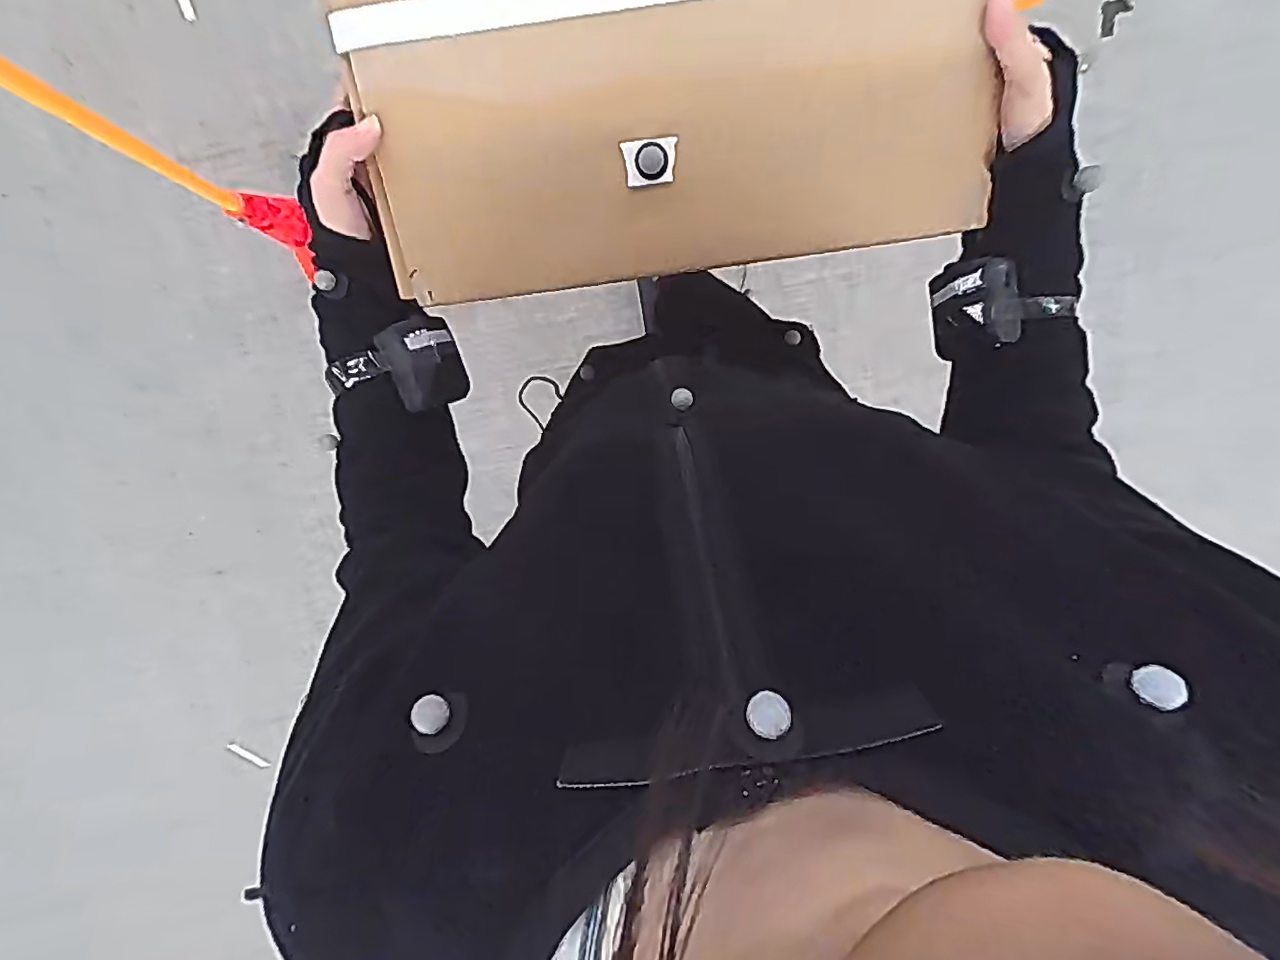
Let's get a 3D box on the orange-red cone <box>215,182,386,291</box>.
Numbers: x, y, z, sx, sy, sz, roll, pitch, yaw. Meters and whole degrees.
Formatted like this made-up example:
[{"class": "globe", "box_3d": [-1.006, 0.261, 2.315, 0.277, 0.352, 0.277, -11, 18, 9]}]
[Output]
[{"class": "orange-red cone", "box_3d": [-0.695, -0.505, 1.066, 0.199, 0.360, 0.198, -19, 106, 4]}]
